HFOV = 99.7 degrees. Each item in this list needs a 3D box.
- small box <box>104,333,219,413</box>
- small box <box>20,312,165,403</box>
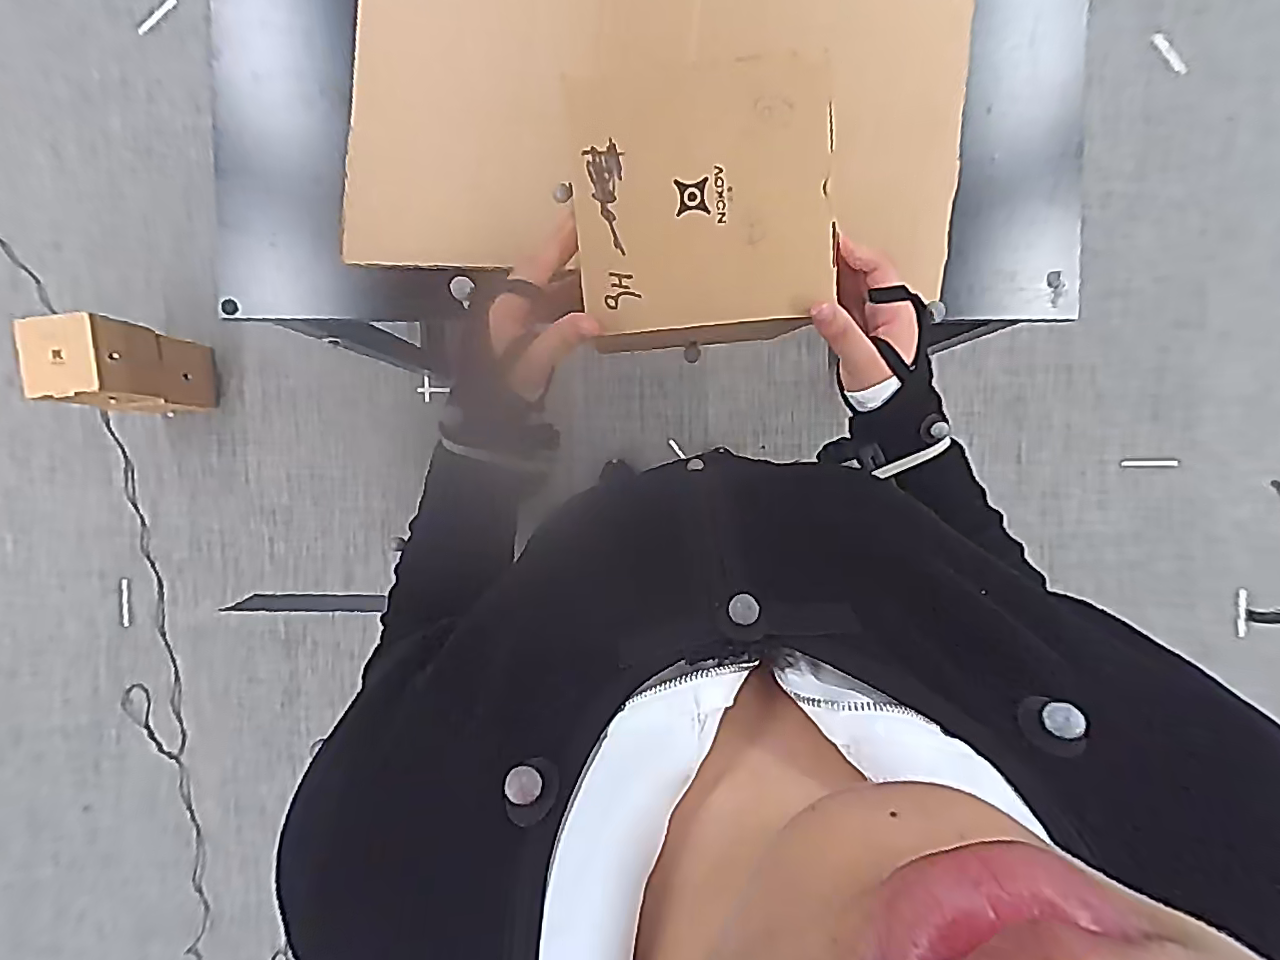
[{"bbox_3d":[-1.257,-0.276,1.422,0.168,0.176,0.179,-4,93,1],"label":"small box"},{"bbox_3d":[-1.259,-0.276,1.259,0.168,0.176,0.179,-7,91,0],"label":"small box"}]
